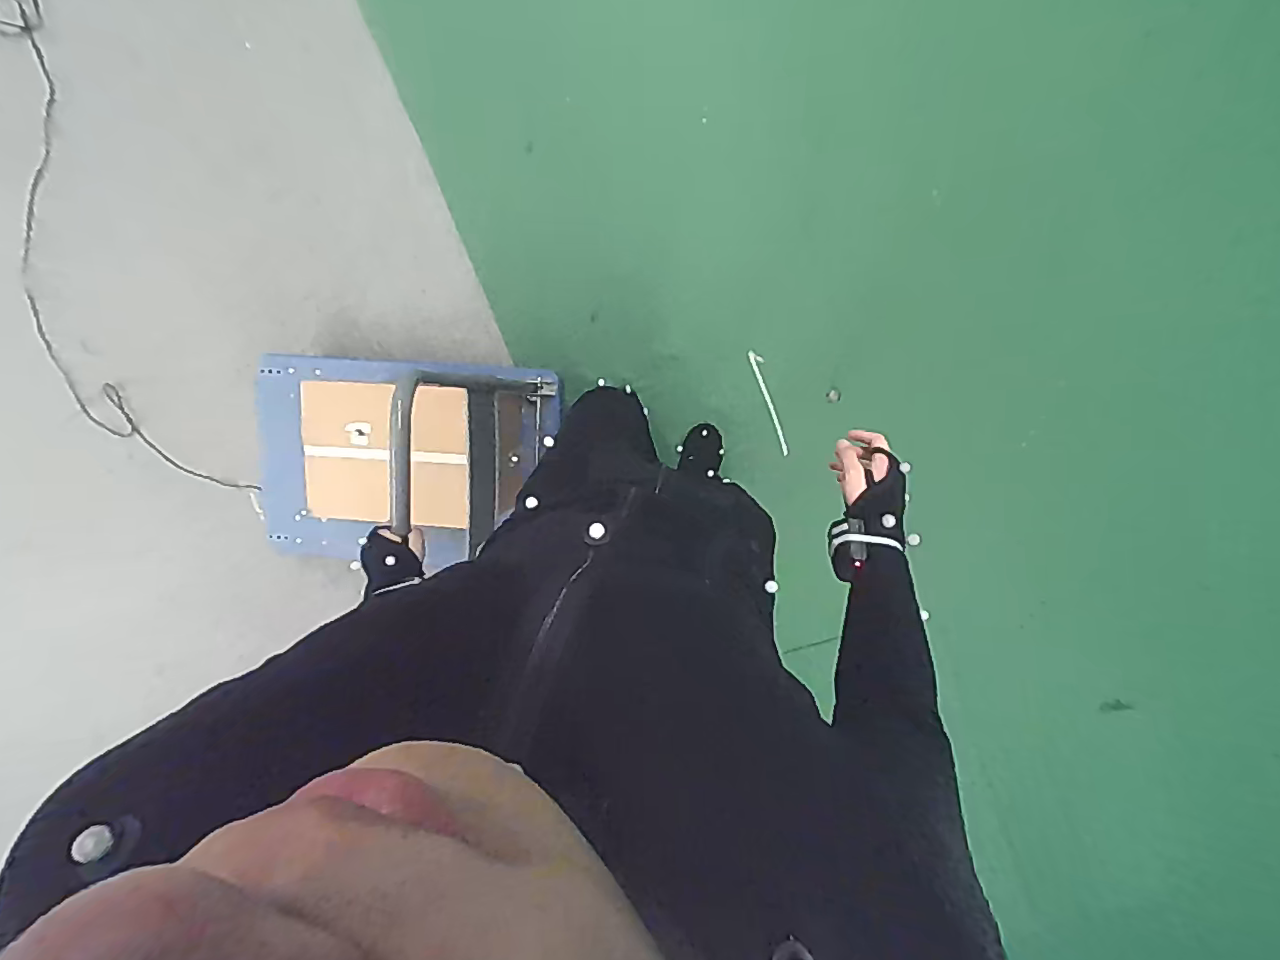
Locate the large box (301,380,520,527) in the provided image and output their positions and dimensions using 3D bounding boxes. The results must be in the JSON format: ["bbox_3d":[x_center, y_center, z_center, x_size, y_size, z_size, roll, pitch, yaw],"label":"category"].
[{"bbox_3d":[-0.534,-0.081,1.333,0.408,0.320,0.320,4,99,5],"label":"large box"}]
